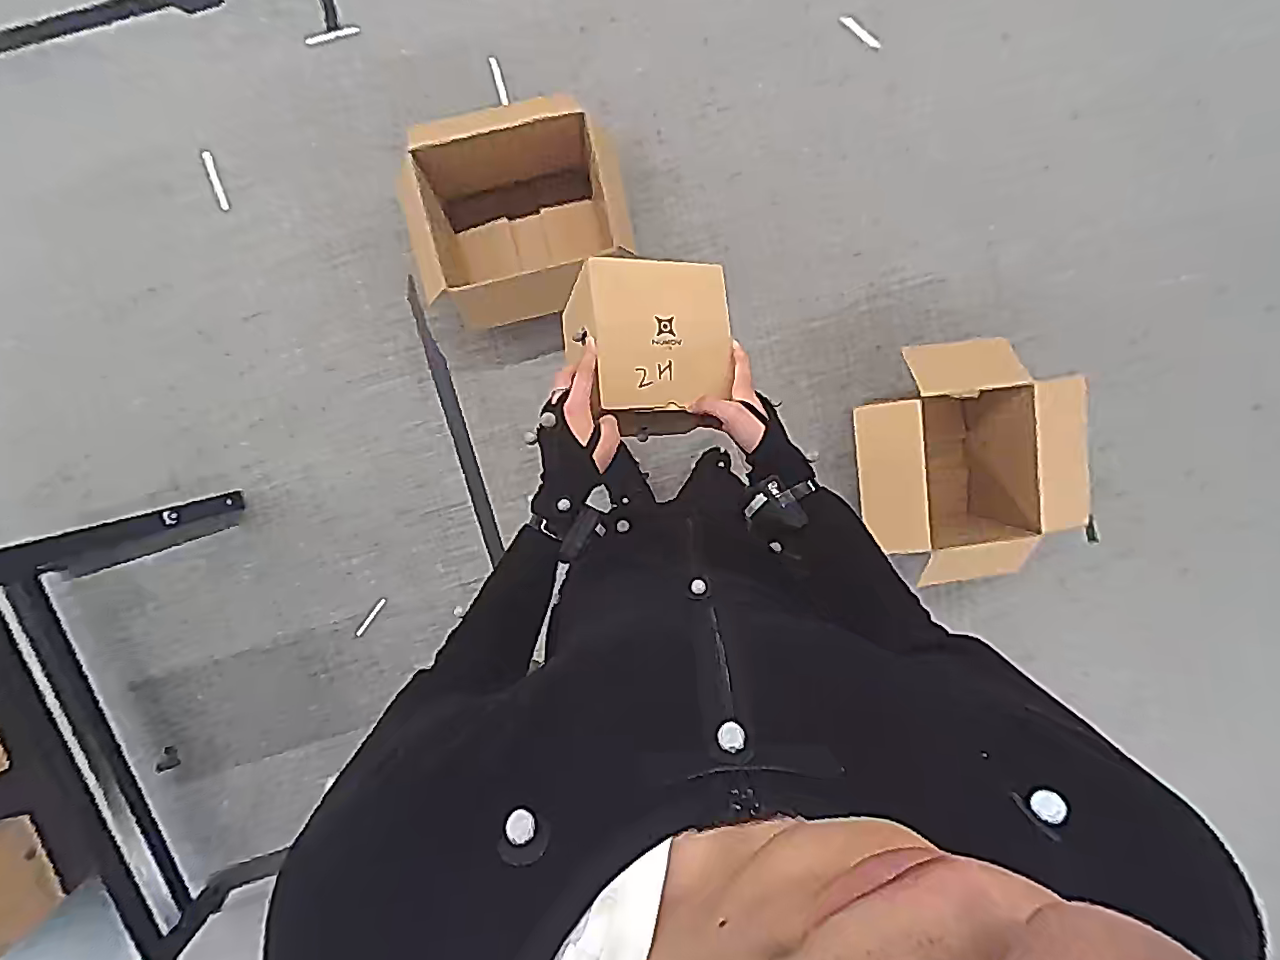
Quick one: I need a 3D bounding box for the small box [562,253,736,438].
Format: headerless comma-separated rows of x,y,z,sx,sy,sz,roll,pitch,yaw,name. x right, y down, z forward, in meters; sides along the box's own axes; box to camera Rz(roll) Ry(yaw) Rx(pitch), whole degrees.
0.000,-0.157,0.678,0.168,0.176,0.179,-5,85,-17,small box
